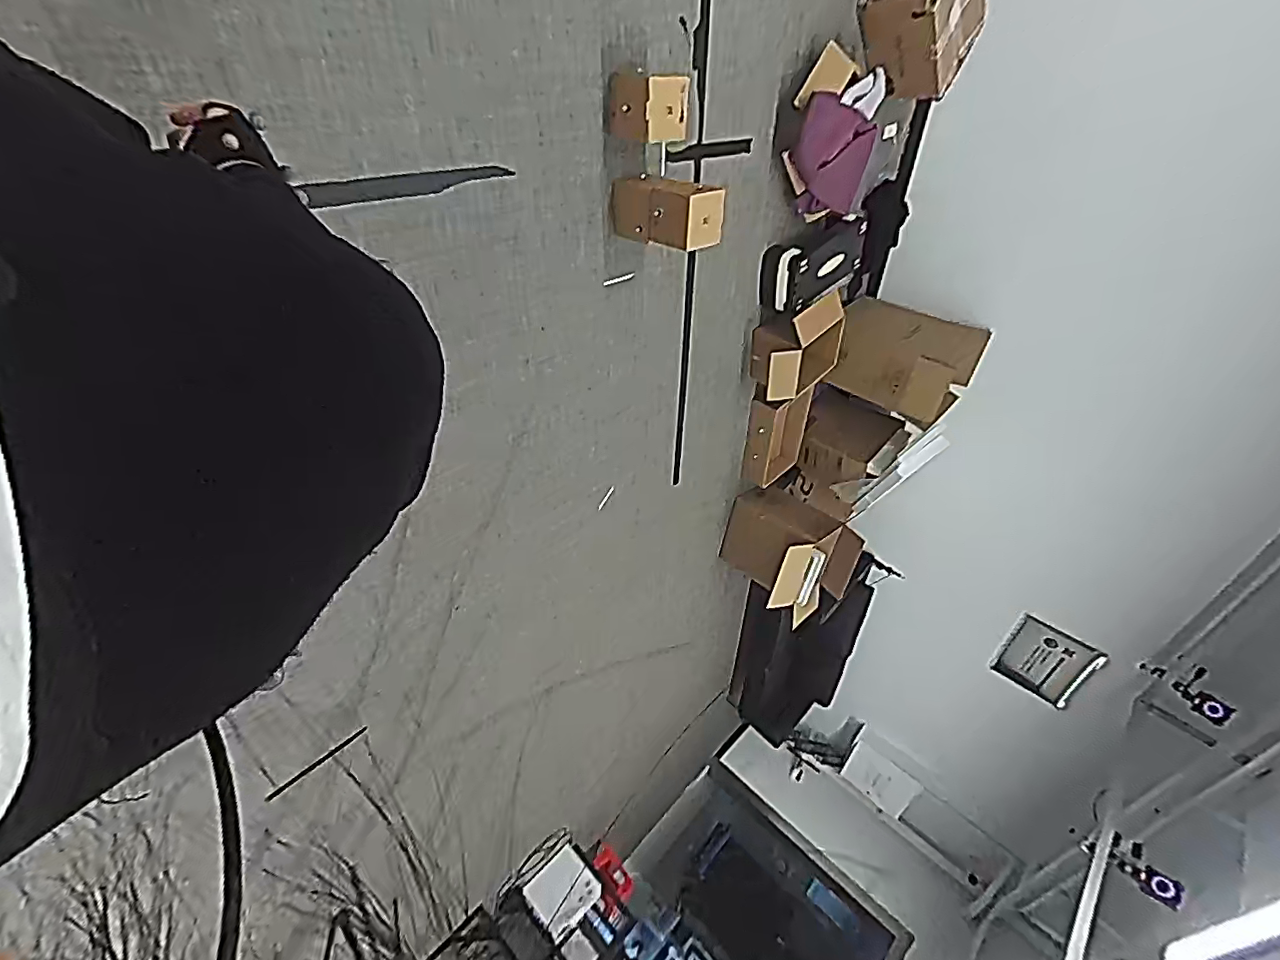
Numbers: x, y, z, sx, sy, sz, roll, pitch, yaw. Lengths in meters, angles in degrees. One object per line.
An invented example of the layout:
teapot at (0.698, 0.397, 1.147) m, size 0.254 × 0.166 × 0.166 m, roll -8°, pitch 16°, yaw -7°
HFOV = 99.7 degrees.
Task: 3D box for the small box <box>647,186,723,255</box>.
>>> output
small box at (0.143, -0.851, 1.762) m, size 0.179 × 0.176 × 0.168 m, roll -30°, pitch 137°, yaw -34°

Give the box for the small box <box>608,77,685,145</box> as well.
small box at (0.016, -1.135, 1.664) m, size 0.179 × 0.176 × 0.168 m, roll -30°, pitch 137°, yaw -36°

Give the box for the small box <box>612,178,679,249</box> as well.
small box at (0.018, -0.914, 1.846) m, size 0.168 × 0.176 × 0.179 m, roll -33°, pitch 140°, yaw -34°
